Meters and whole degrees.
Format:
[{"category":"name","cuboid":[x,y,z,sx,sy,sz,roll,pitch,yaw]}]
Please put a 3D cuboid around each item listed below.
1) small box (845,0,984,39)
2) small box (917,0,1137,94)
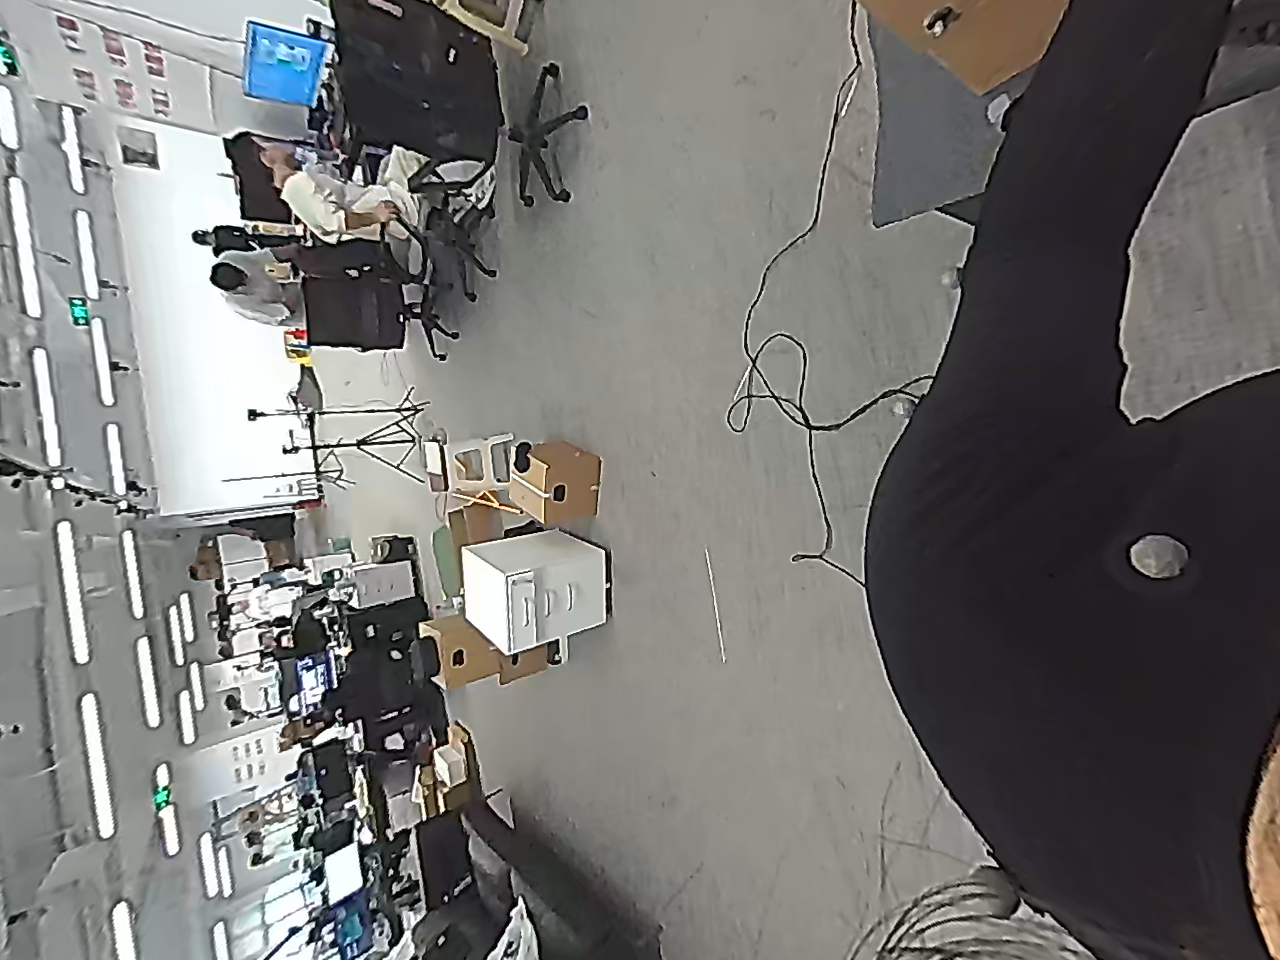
[{"category":"small box","cuboid":[0.272,-0.543,0.476,0.168,0.176,0.179,-16,81,52]},{"category":"small box","cuboid":[0.408,-0.561,0.567,0.179,0.176,0.168,-9,87,54]}]
